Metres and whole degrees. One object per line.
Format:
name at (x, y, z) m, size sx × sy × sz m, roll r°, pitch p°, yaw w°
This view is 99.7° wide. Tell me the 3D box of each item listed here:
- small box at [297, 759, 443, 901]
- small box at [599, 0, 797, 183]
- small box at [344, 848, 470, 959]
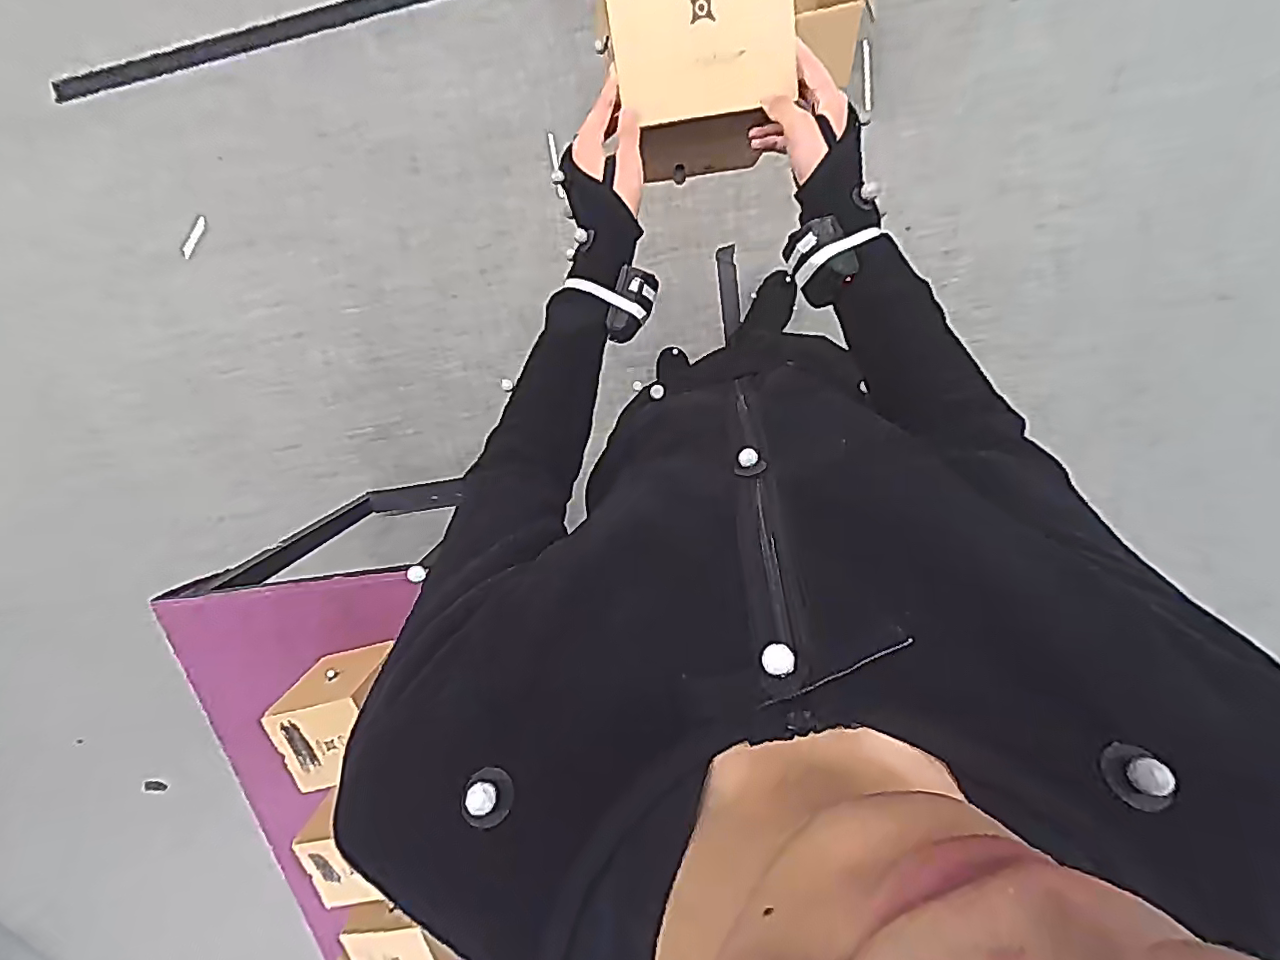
small box at (-0.533, 0.700, 1.092) m, size 0.179 × 0.176 × 0.168 m, roll -14°, pitch 106°, yaw 8°
small box at (0.049, -0.441, 0.562) m, size 0.168 × 0.176 × 0.179 m, roll -9°, pitch 101°, yaw -1°
small box at (-0.484, 0.927, 1.159) m, size 0.179 × 0.176 × 0.168 m, roll -10°, pitch 106°, yaw 8°
